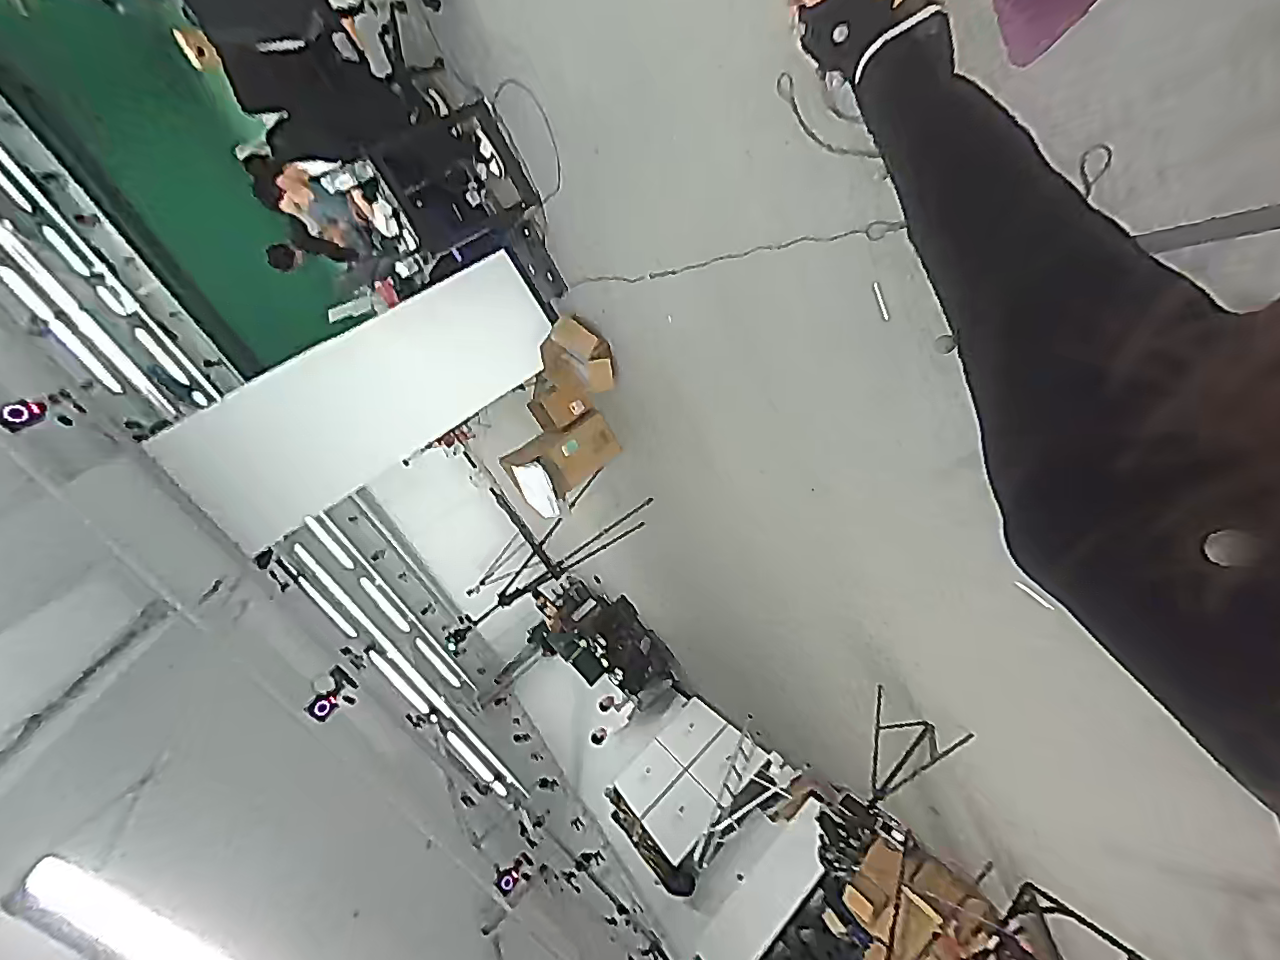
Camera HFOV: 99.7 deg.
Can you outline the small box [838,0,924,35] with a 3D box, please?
[{"bbox_3d":[0.305,-0.616,0.551,0.168,0.176,0.179,59,158,-19],"label":"small box"}]
